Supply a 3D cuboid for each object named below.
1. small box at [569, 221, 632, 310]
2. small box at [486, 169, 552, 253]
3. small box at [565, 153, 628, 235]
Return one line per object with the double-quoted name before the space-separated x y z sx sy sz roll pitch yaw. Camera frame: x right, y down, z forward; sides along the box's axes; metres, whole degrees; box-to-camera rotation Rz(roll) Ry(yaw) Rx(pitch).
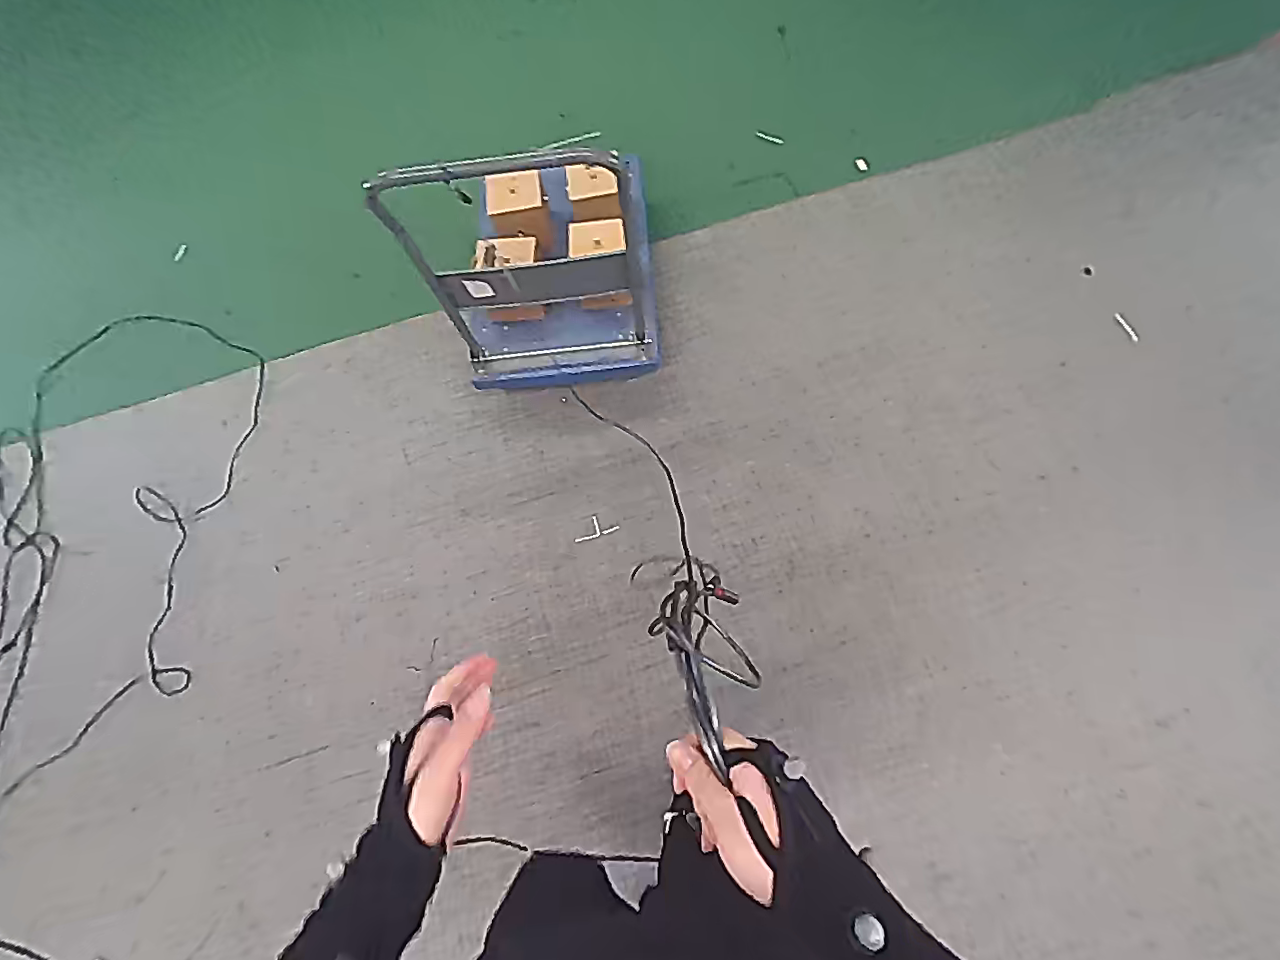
"small box" -0.116 -0.640 1.620 0.168 0.176 0.179 -5 69 4
"small box" -0.383 -0.849 1.728 0.168 0.176 0.179 -9 68 2
"small box" -0.135 -0.891 1.718 0.168 0.176 0.179 -10 69 3
